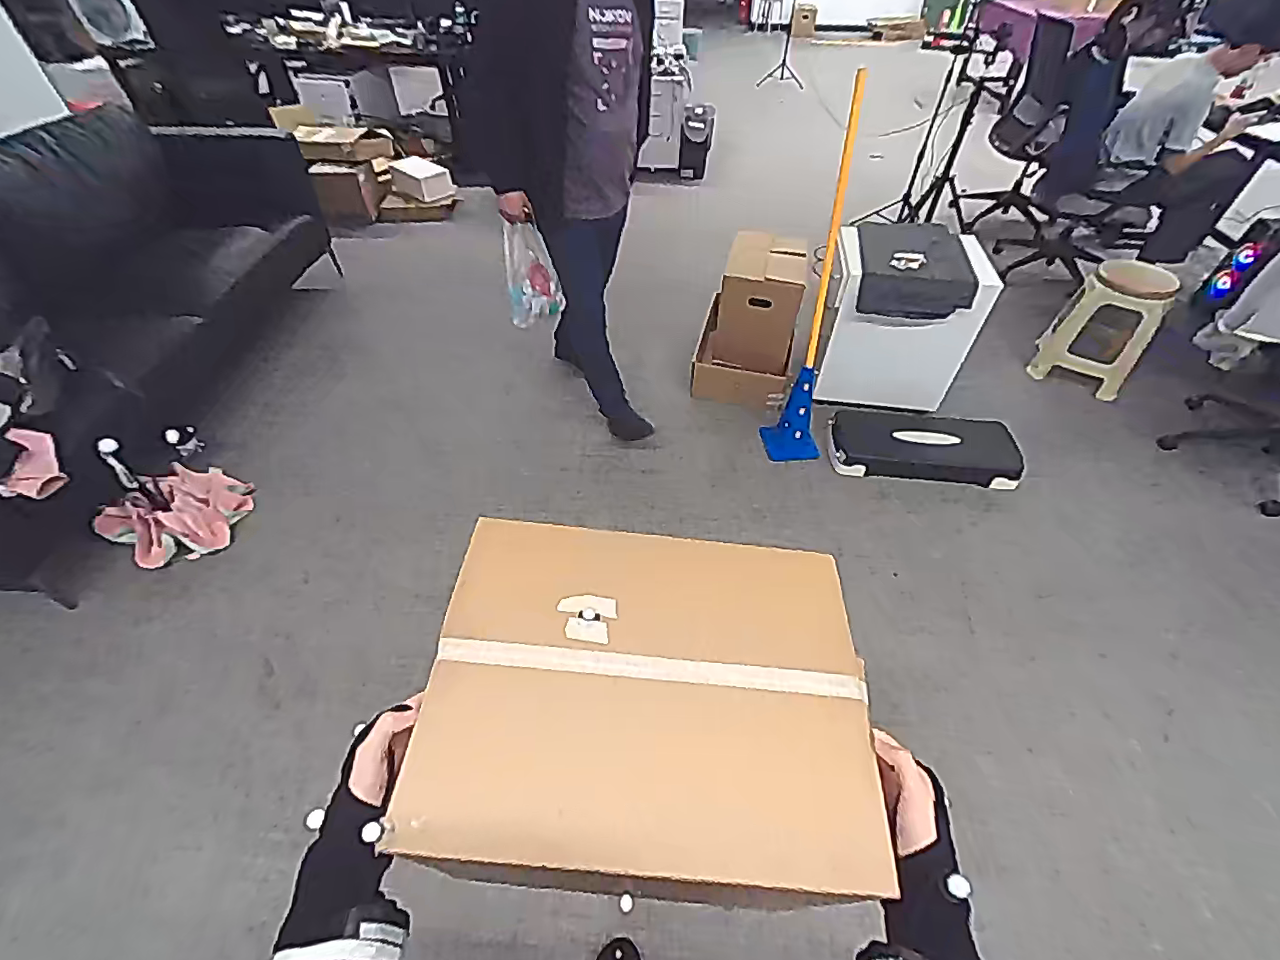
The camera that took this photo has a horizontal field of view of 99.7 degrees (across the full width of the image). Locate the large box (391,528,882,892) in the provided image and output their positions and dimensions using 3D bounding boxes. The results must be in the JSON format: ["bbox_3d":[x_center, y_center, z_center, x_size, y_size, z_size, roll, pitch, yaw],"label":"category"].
[{"bbox_3d":[-0.001,0.282,0.639,0.408,0.320,0.320,6,50,-1],"label":"large box"}]
